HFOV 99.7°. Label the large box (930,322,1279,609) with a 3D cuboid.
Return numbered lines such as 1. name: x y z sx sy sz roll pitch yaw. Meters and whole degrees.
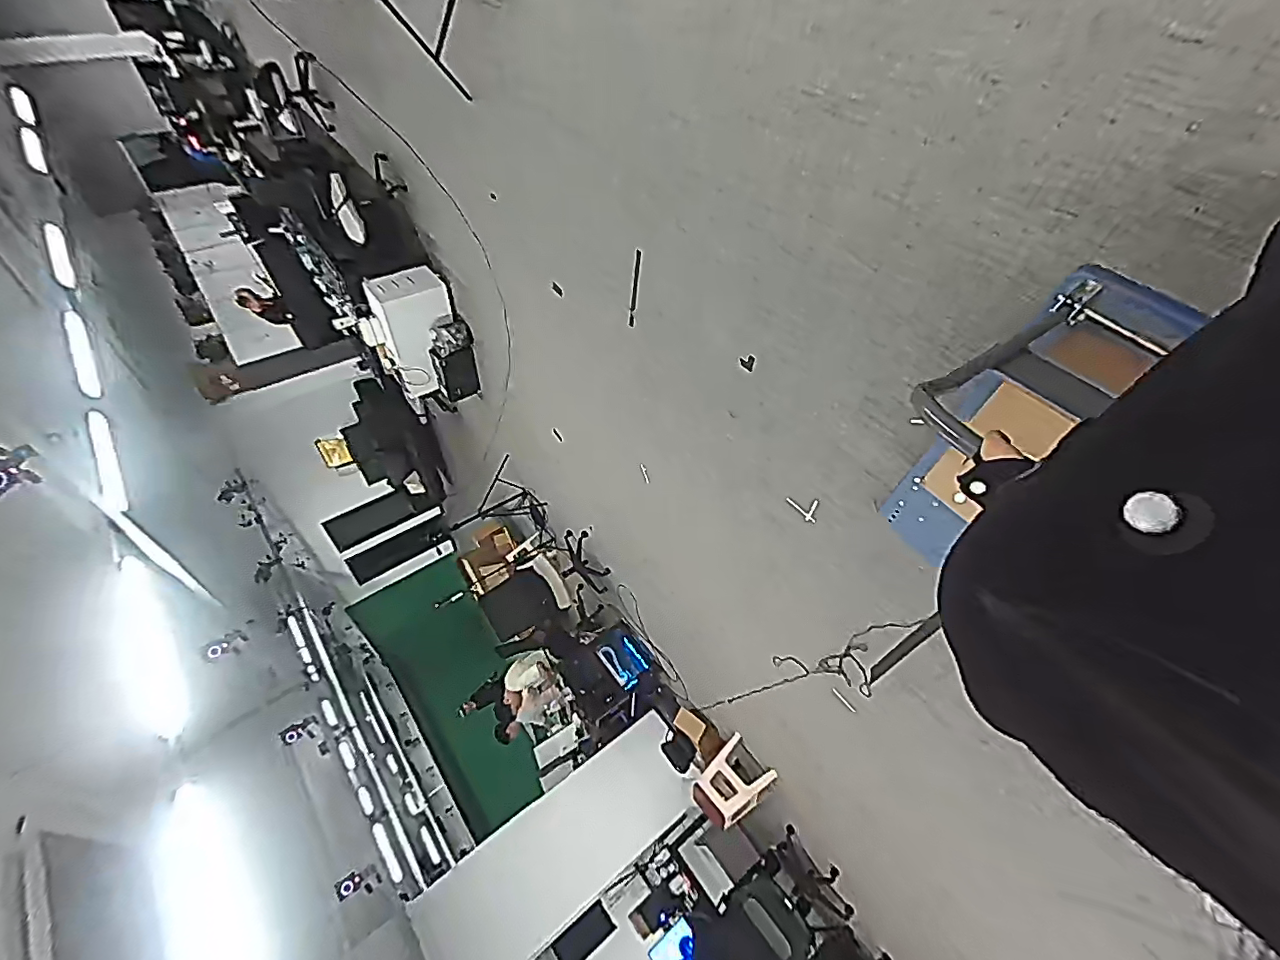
1. large box: 0.893 -0.038 1.055 0.408 0.320 0.320 48 151 26
